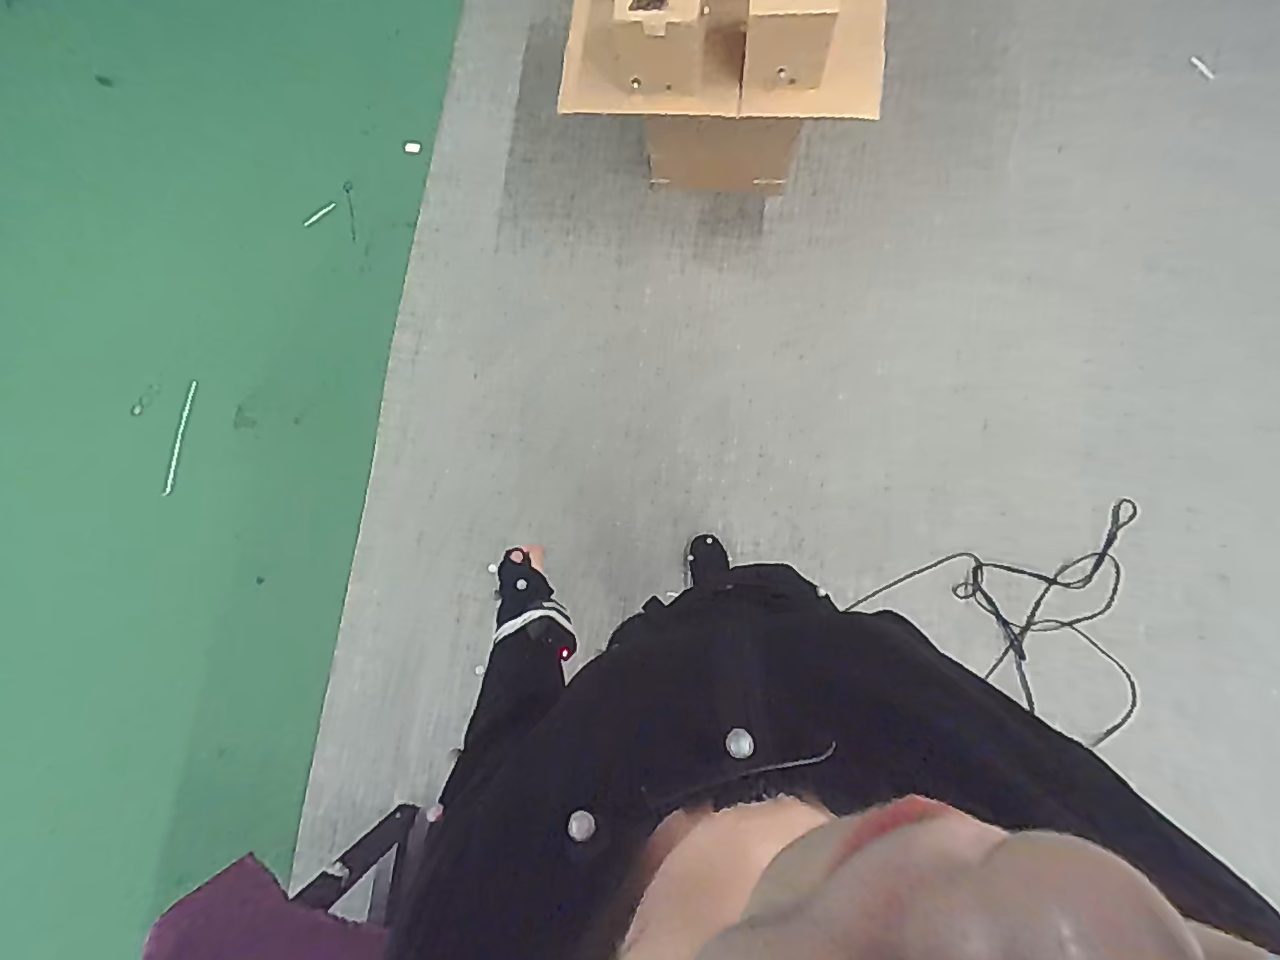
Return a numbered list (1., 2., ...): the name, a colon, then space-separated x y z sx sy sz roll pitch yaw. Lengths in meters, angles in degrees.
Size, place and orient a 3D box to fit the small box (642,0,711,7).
1. small box: 0.079 -1.159 1.145 0.168 0.176 0.179 4 81 8
